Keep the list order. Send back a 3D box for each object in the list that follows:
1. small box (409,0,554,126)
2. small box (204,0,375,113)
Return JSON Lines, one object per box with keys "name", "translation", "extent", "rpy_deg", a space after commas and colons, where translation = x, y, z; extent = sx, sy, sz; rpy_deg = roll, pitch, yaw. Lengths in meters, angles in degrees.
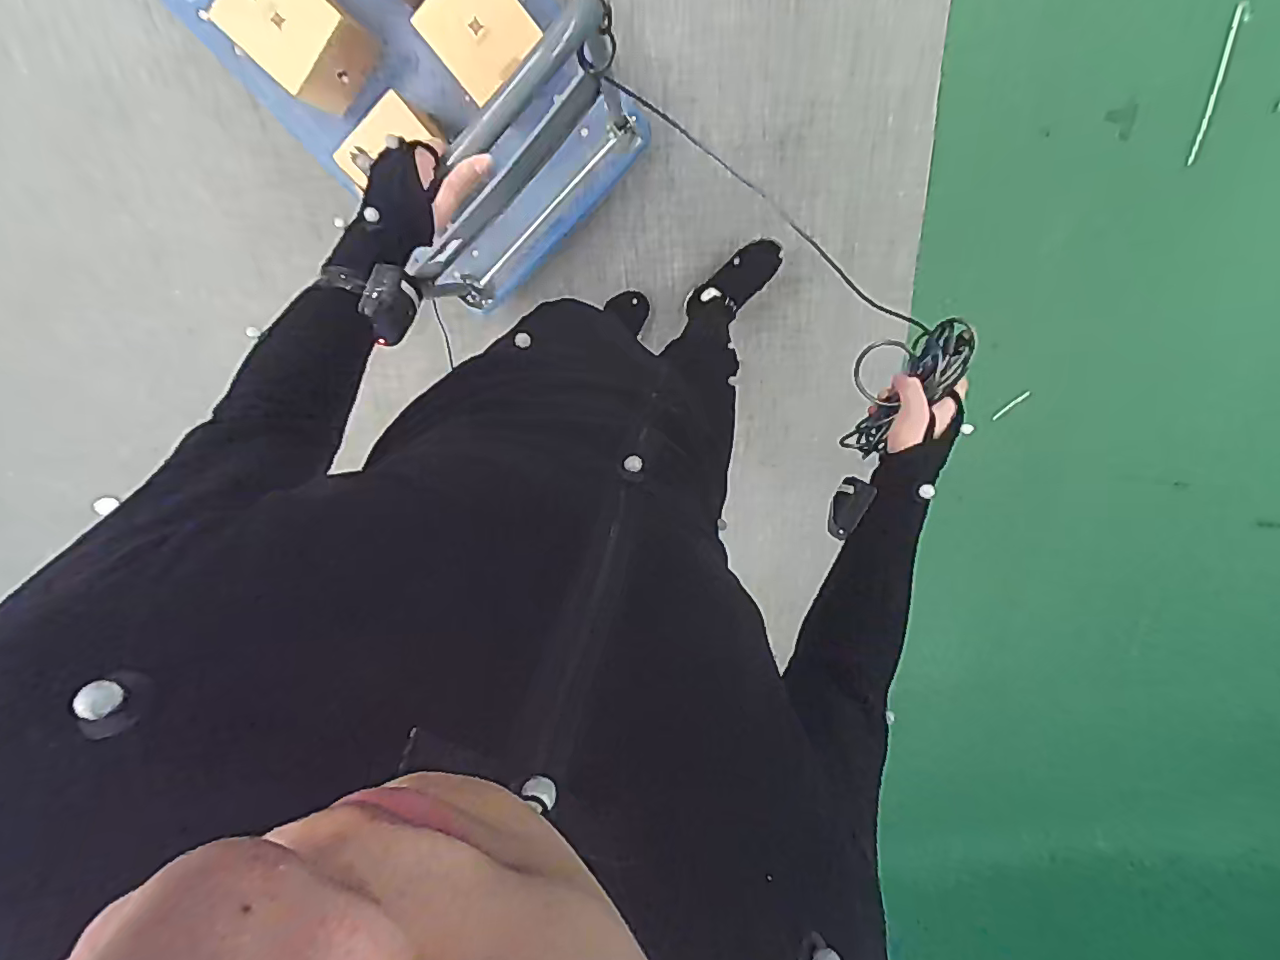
{"name": "small box", "translation": [-0.287, -0.812, 1.016], "extent": [0.168, 0.176, 0.179], "rpy_deg": [-39, 108, 16]}
{"name": "small box", "translation": [-0.640, -0.829, 1.012], "extent": [0.179, 0.176, 0.168], "rpy_deg": [42, 107, -15]}
